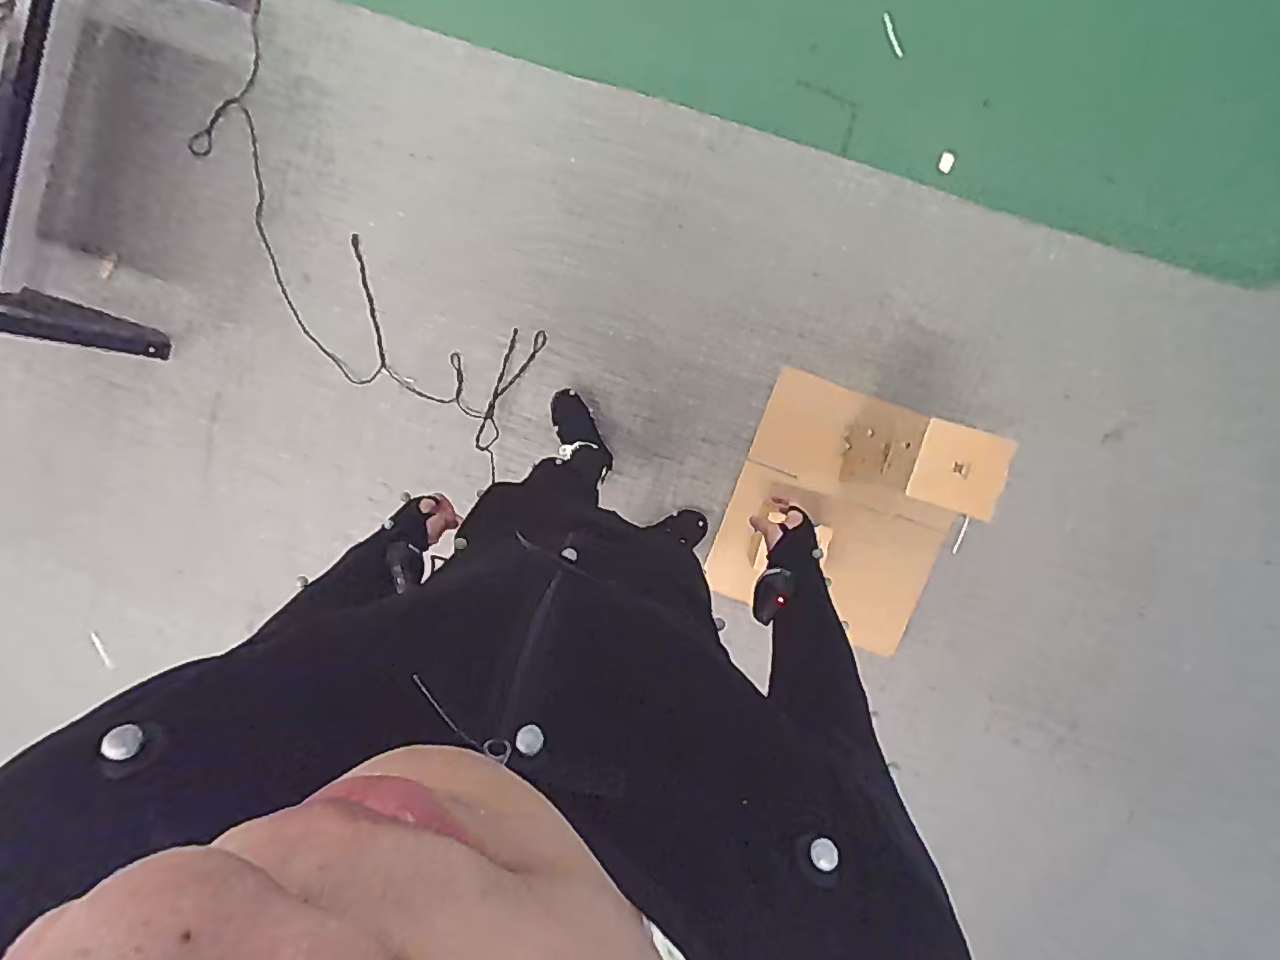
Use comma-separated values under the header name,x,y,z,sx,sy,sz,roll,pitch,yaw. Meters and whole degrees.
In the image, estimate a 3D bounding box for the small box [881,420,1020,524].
name,x,y,z,sx,sy,sz,roll,pitch,yaw
small box,0.637,-0.019,1.137,0.179,0.176,0.168,17,95,3

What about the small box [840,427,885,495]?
name,x,y,z,sx,sy,sz,roll,pitch,yaw
small box,0.666,-0.045,1.460,0.179,0.176,0.168,14,95,4

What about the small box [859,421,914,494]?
name,x,y,z,sx,sy,sz,roll,pitch,yaw
small box,0.652,-0.035,1.298,0.179,0.176,0.168,17,95,3
